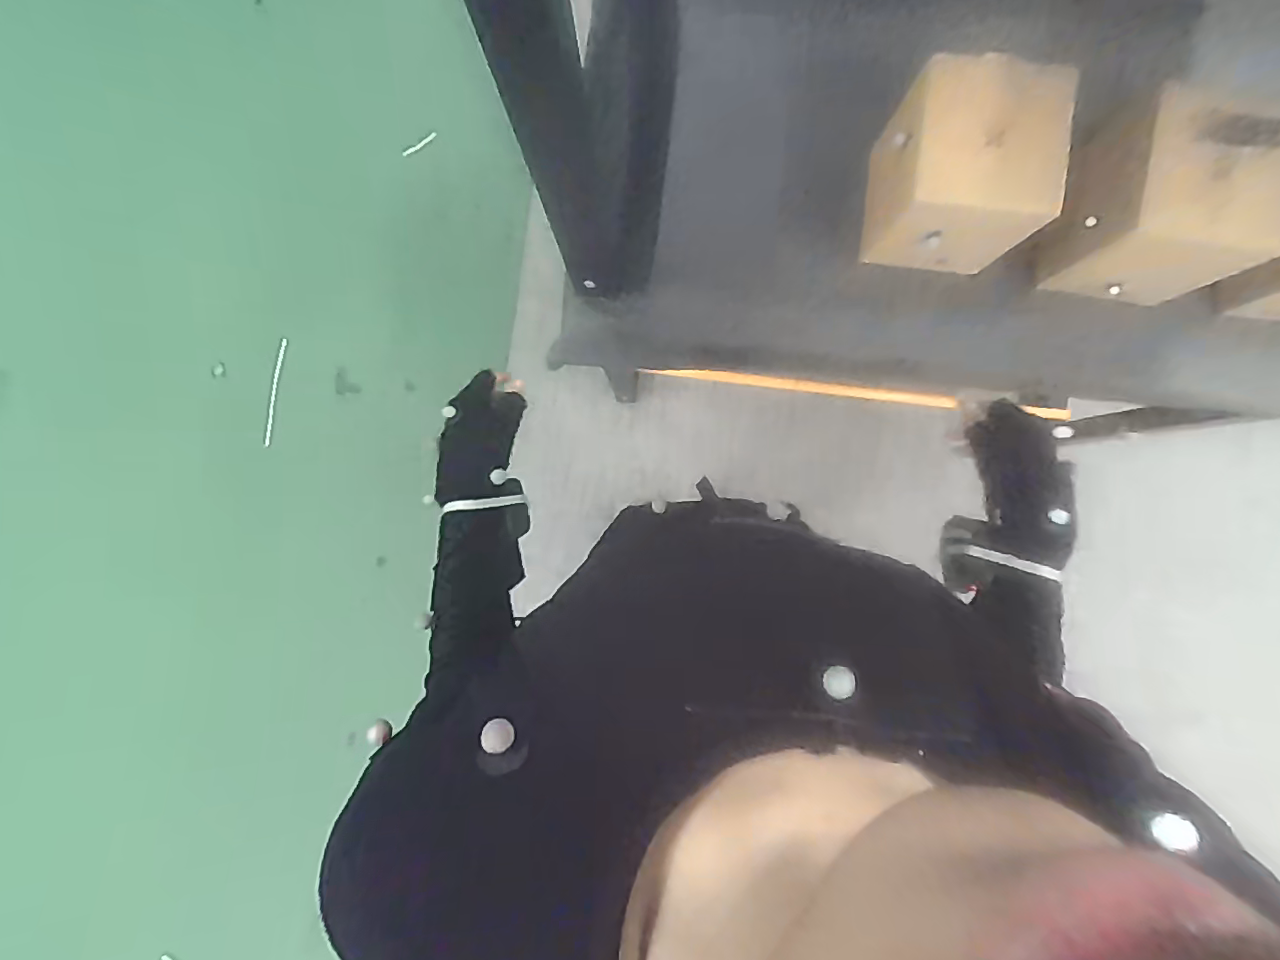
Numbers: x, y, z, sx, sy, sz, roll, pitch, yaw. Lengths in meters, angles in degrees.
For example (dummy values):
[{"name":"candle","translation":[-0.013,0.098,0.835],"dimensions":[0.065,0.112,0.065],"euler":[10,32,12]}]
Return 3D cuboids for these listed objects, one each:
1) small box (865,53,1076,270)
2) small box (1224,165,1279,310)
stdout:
[{"name":"small box","translation":[0.405,-0.391,0.693],"dimensions":[0.168,0.176,0.179],"euler":[7,88,2]},{"name":"small box","translation":[0.892,-0.314,0.669],"dimensions":[0.168,0.176,0.179],"euler":[6,87,2]}]
